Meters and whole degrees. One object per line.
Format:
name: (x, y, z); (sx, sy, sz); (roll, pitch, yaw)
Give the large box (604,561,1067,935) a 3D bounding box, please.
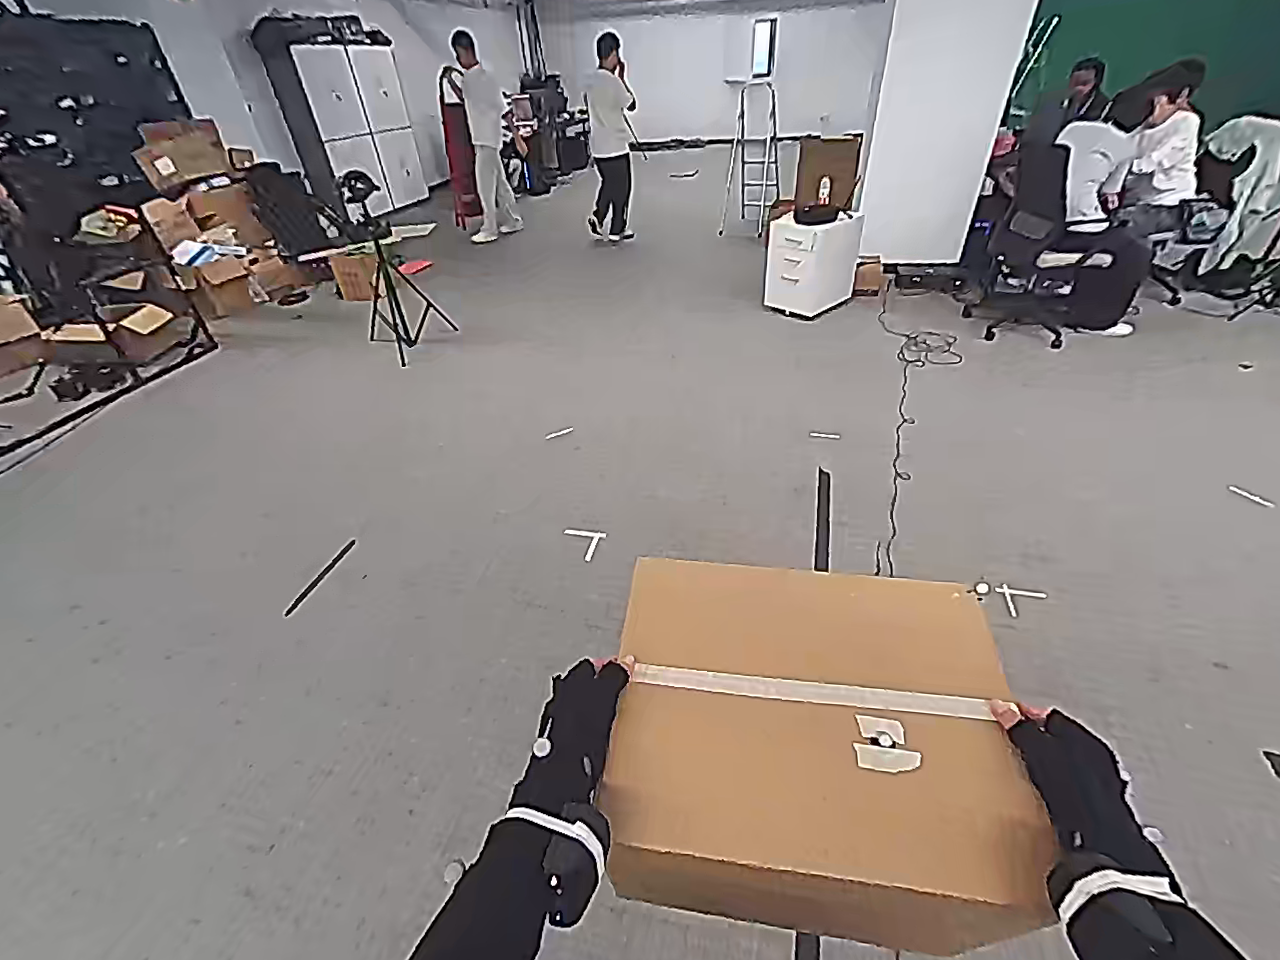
large box: (0.186, 0.328, 0.680); (0.408, 0.320, 0.320); (4, 46, 8)
